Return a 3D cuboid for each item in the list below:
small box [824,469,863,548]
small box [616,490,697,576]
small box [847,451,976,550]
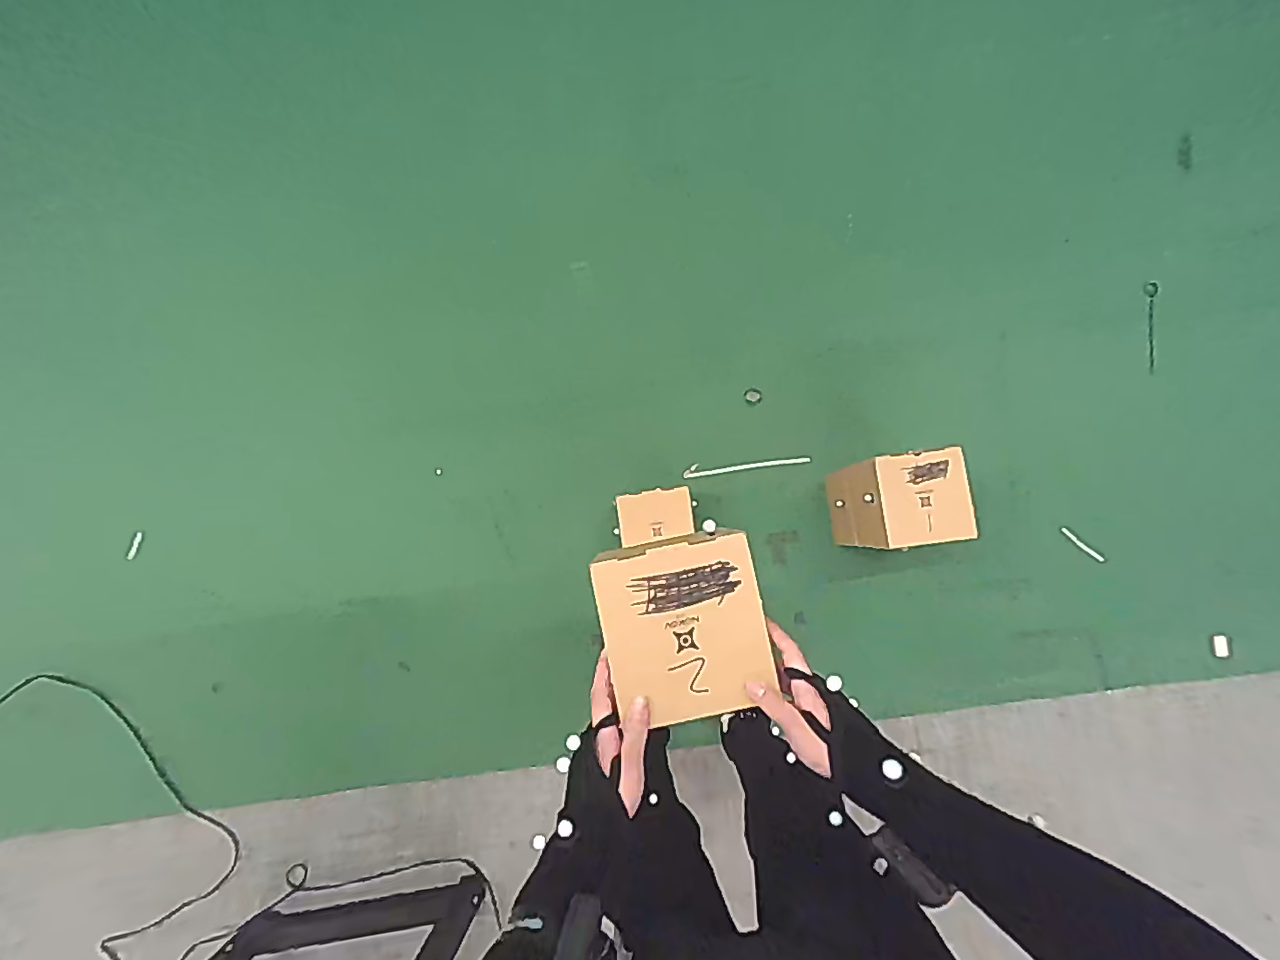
[{"bbox_3d":[0.540,0.064,1.255,0.168,0.176,0.179,-6,84,2],"label":"small box"},{"bbox_3d":[0.041,0.123,1.273,0.168,0.176,0.179,-8,83,2],"label":"small box"},{"bbox_3d":[0.536,0.047,1.092,0.168,0.176,0.179,-7,84,2],"label":"small box"}]
